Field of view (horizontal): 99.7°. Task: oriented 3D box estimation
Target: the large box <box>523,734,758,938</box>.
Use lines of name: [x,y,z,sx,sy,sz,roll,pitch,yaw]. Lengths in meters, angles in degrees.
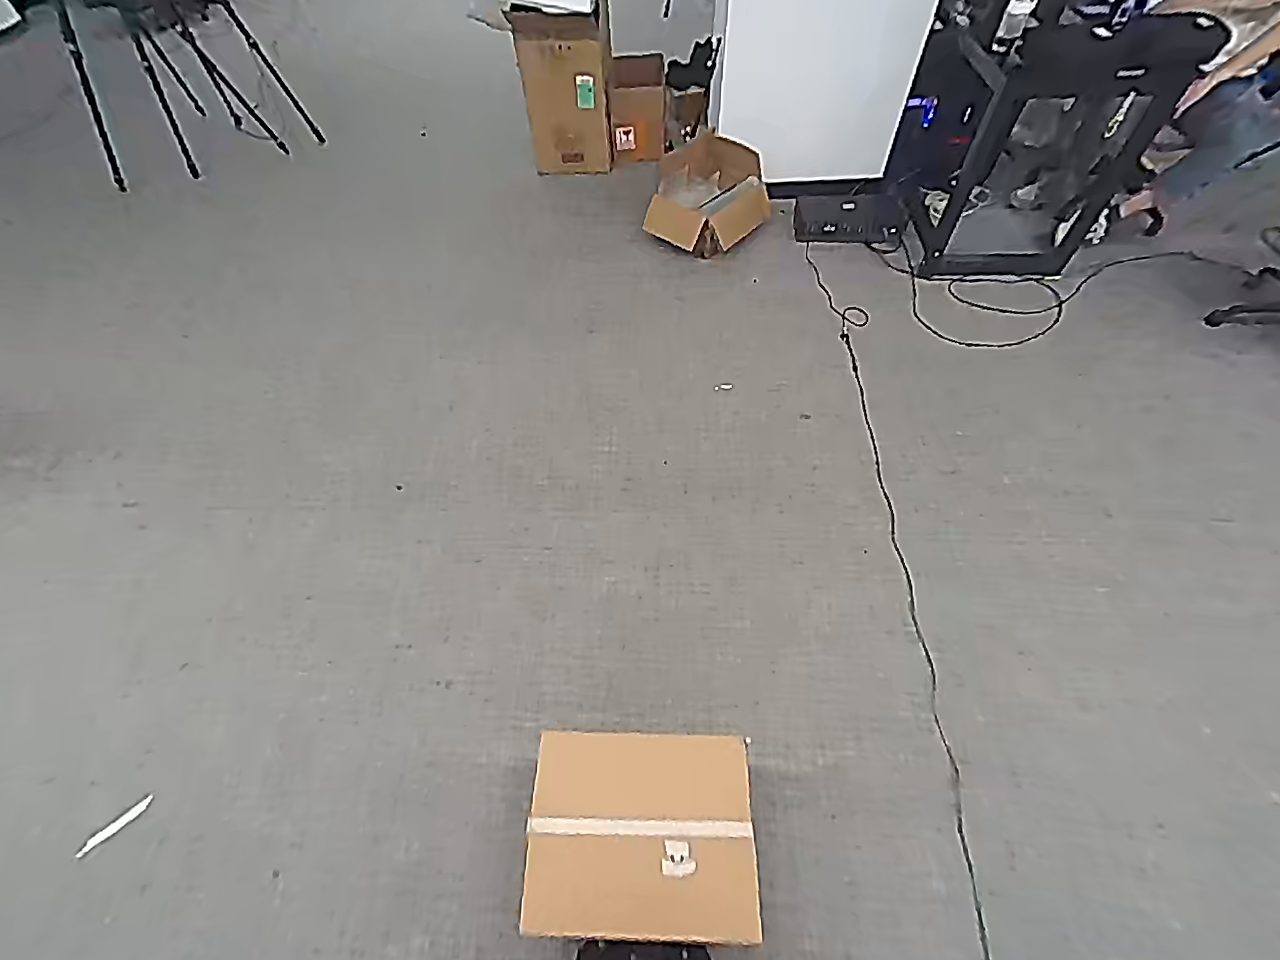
large box: [0.002,0.721,1.107,0.408,0.320,0.320,0,55,2]
